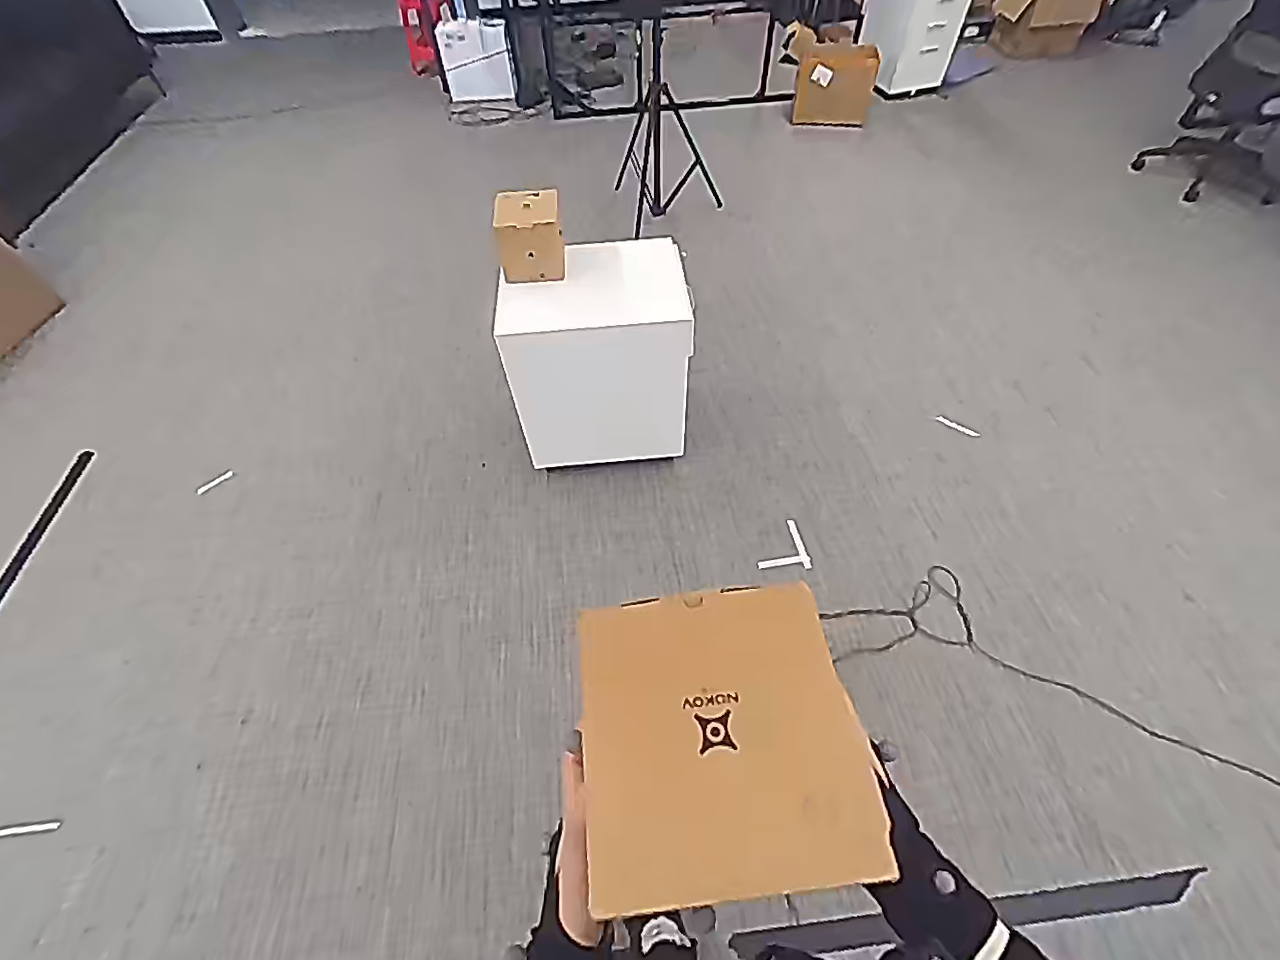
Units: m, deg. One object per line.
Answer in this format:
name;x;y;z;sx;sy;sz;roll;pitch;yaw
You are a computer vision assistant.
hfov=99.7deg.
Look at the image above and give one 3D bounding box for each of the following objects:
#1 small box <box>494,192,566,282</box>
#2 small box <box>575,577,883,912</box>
small box;-0.297;-0.665;1.493;0.168;0.176;0.179;-5;55;-3
small box;0.050;0.196;0.401;0.168;0.176;0.179;-8;53;0
